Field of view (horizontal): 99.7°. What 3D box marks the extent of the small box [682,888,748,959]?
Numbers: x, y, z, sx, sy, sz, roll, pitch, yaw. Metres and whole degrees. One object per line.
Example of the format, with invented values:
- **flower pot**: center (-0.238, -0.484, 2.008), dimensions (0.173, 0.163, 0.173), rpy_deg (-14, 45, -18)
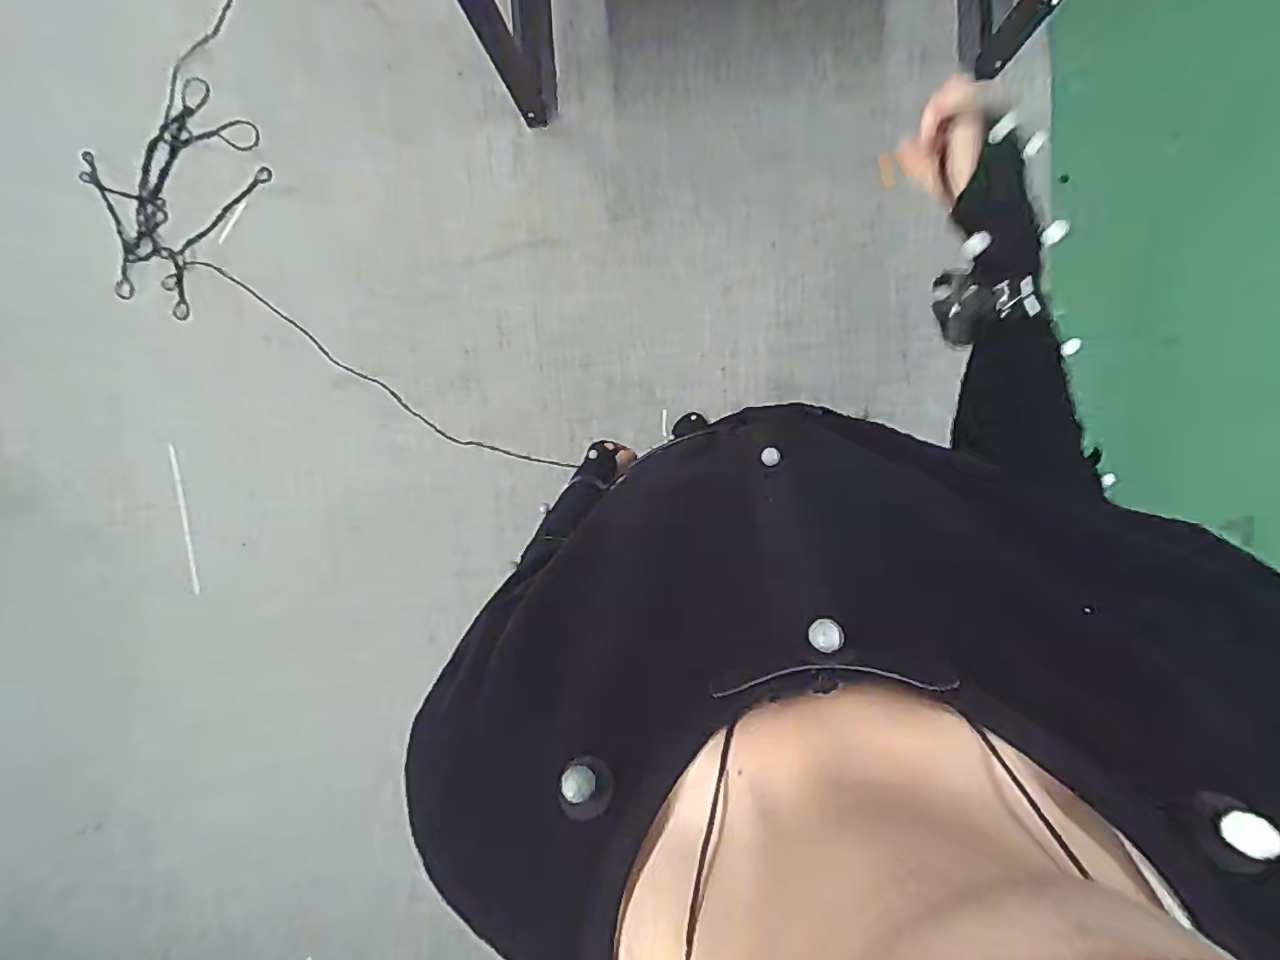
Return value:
- **small box**: center (0.209, 1.309, 1.539), dimensions (0.179, 0.176, 0.168), rpy_deg (1, 95, 6)
